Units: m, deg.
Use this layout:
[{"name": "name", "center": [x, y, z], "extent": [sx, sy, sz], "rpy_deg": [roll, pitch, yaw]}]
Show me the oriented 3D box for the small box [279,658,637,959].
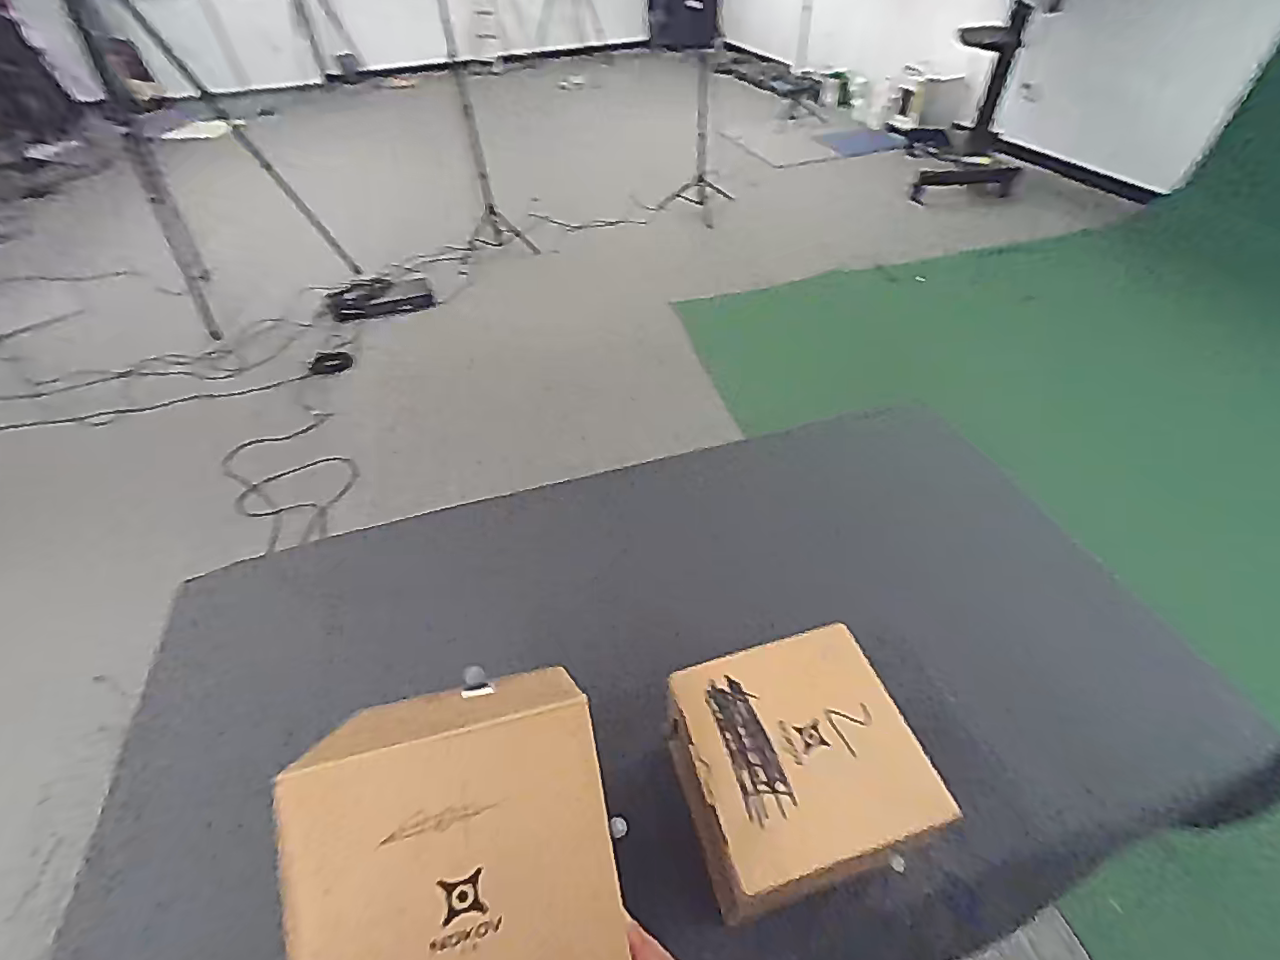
[{"name": "small box", "center": [-0.107, 0.232, 0.355], "extent": [0.168, 0.176, 0.179], "rpy_deg": [-8, 82, -16]}]
